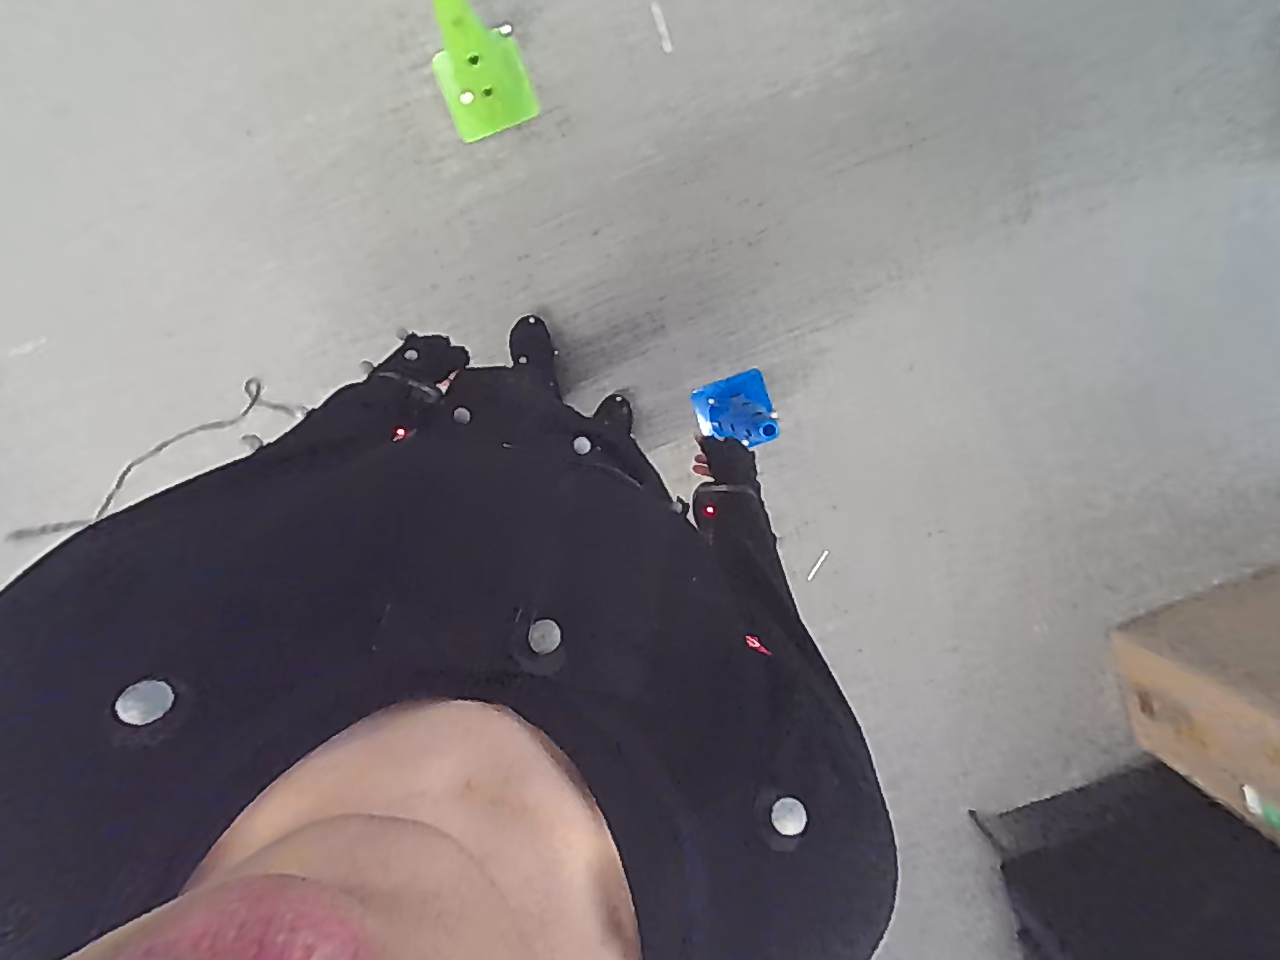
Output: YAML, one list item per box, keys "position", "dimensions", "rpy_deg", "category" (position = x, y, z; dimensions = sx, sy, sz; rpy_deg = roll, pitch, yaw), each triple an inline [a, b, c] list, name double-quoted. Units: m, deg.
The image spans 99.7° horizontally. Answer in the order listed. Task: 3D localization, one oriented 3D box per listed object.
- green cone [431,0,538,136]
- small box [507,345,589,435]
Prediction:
- position: [-0.354, -0.897, 1.087]
  dimensions: [0.200, 0.368, 0.202]
  rpy_deg: [-22, 102, 3]
  category: "green cone"
- position: [-0.240, -0.231, 1.371]
  dimensions: [0.168, 0.176, 0.179]
  rpy_deg: [7, 110, -22]
  category: "small box"
